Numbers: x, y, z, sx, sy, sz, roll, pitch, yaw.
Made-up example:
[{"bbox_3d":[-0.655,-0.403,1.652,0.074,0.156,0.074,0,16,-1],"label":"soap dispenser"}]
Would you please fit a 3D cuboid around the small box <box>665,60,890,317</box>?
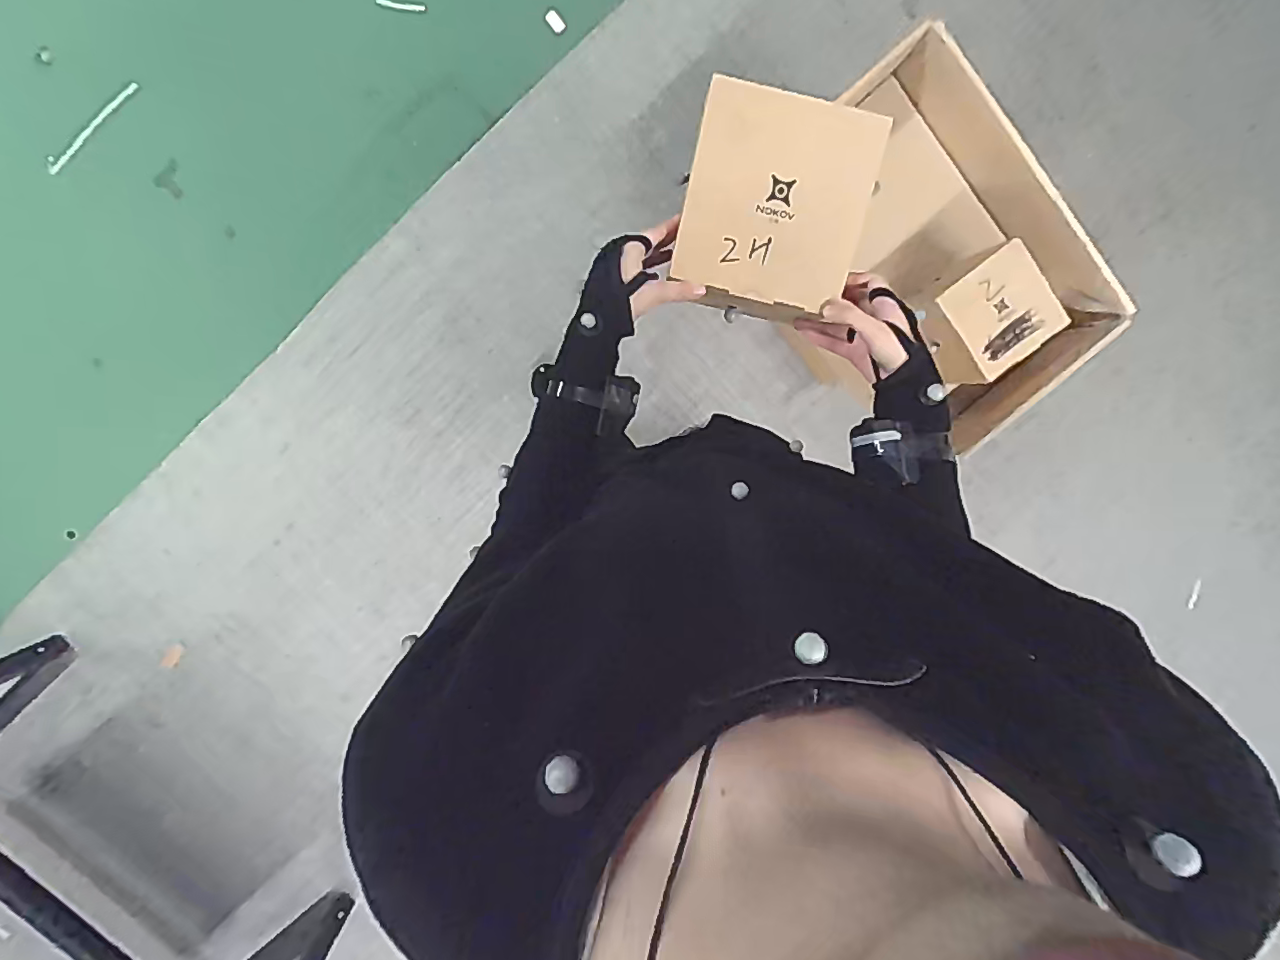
[{"bbox_3d":[0.122,-0.280,0.564,0.168,0.176,0.179,13,103,-1],"label":"small box"}]
